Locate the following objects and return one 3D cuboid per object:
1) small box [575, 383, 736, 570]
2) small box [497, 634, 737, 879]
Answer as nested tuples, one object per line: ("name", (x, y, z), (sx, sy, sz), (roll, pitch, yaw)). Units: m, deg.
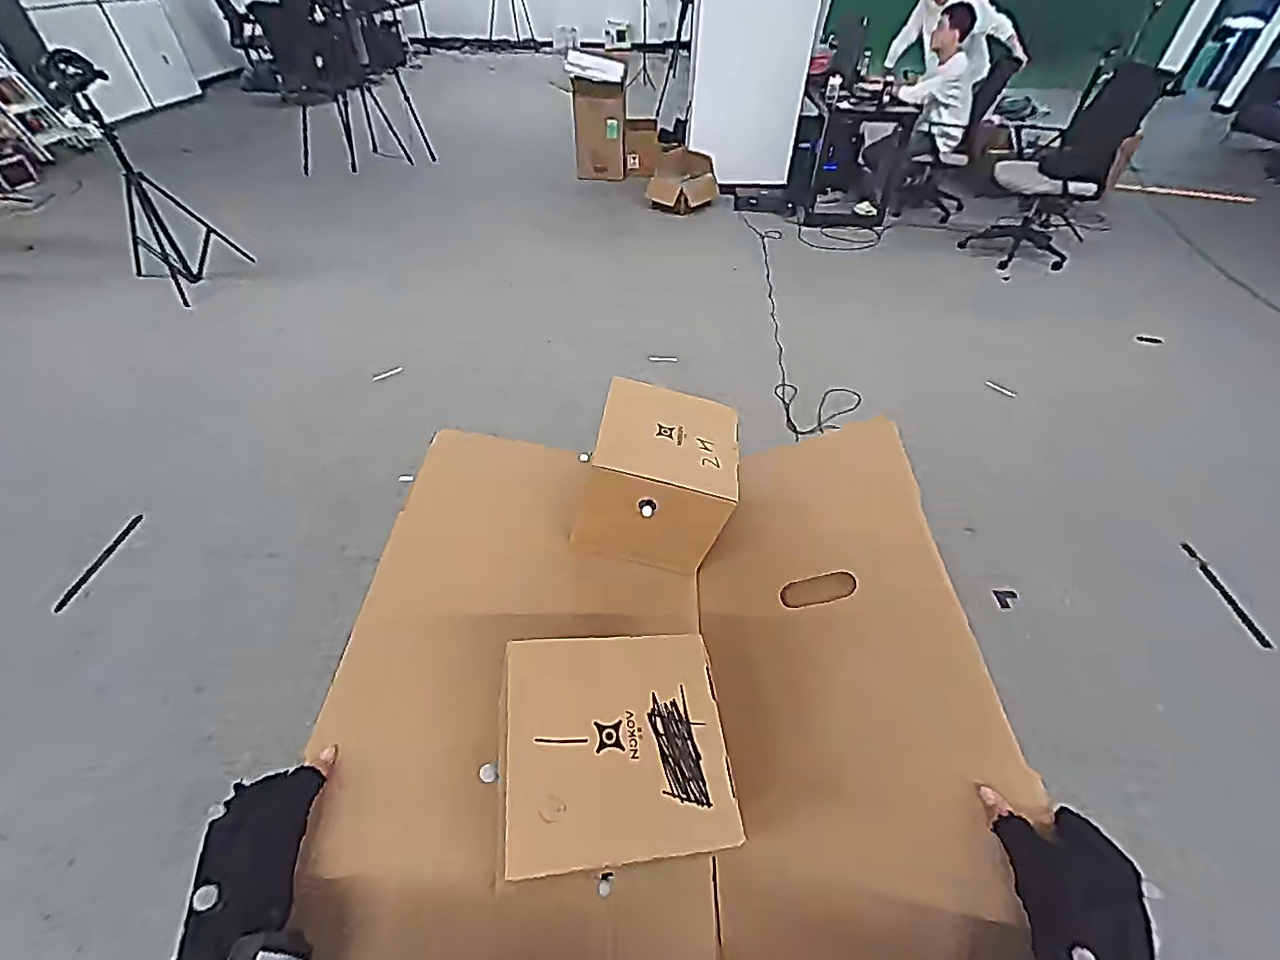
("small box", (0.018, 0.001, 0.735), (0.179, 0.176, 0.168), (15, 48, -6))
("small box", (-0.036, 0.254, 0.500), (0.179, 0.176, 0.168), (3, 50, -15))
